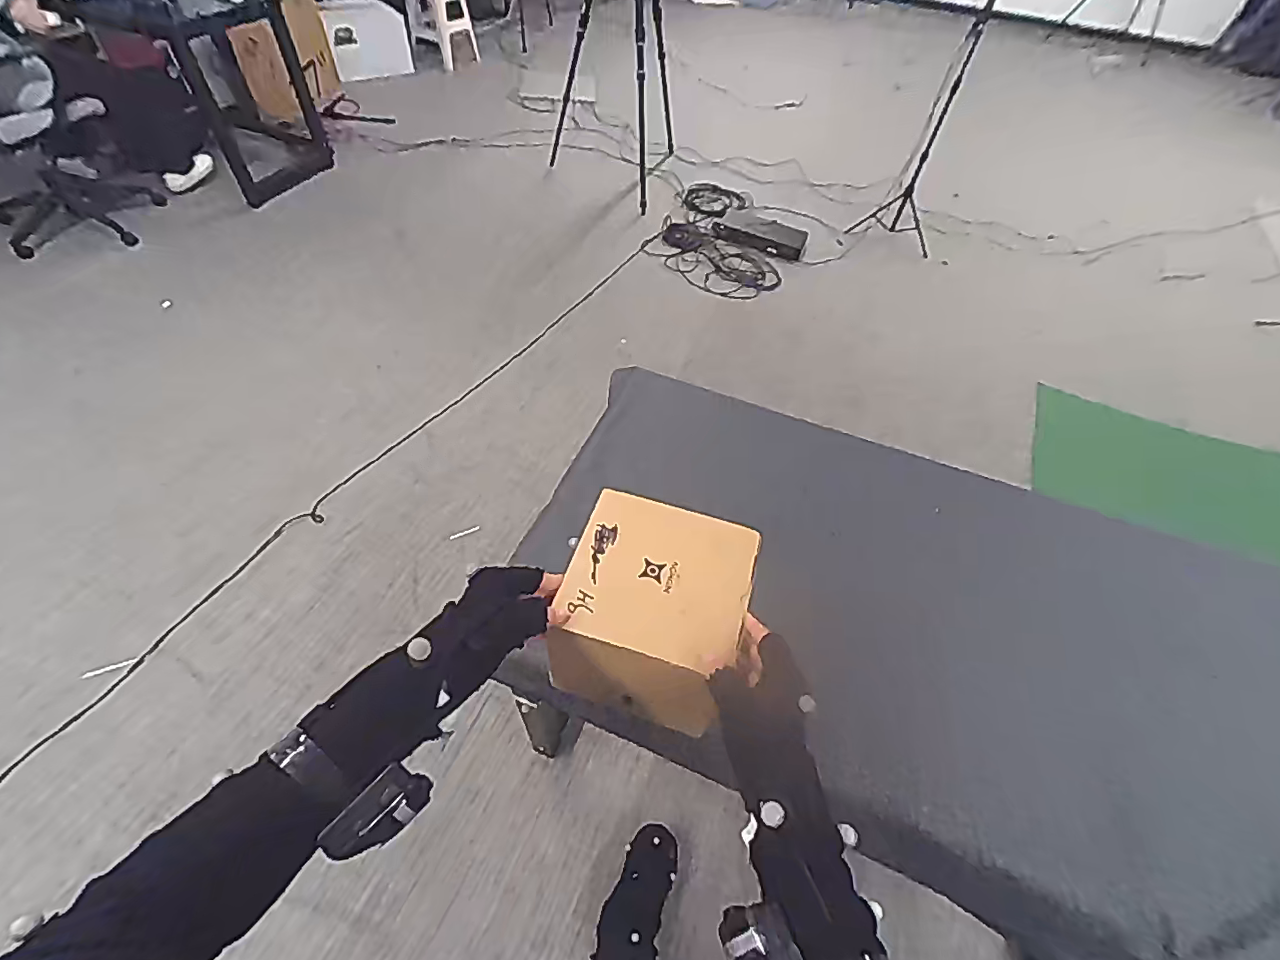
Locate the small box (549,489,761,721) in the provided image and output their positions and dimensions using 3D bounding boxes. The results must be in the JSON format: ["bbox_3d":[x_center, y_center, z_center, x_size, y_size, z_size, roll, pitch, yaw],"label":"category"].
[{"bbox_3d":[0.014,0.142,0.591,0.179,0.176,0.168,16,51,7],"label":"small box"}]
